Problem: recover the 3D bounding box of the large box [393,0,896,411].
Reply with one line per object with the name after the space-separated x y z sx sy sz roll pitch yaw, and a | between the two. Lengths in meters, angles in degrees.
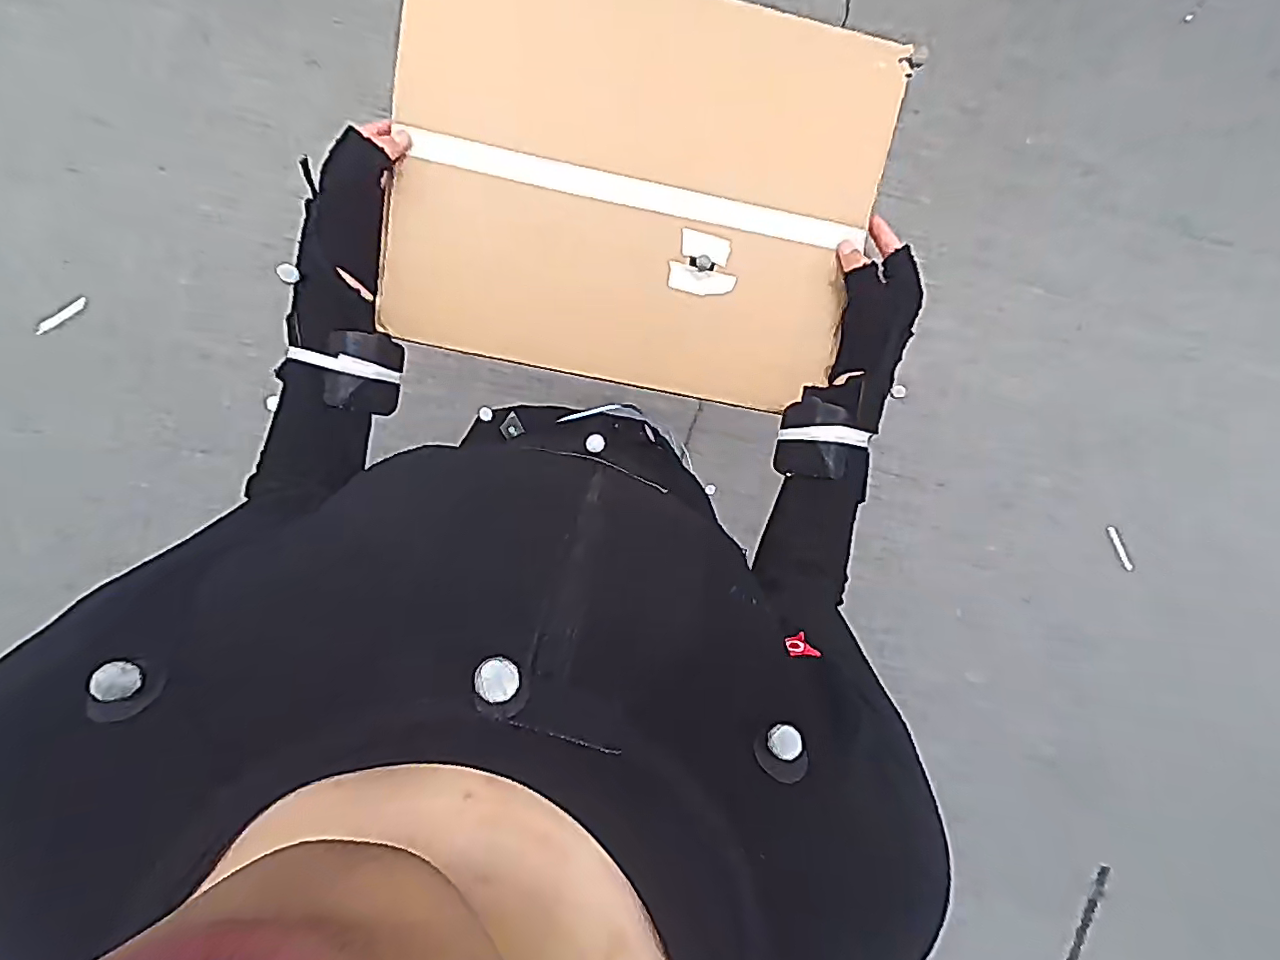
-0.012 -0.273 0.616 0.408 0.320 0.320 10 102 -7 | large box
